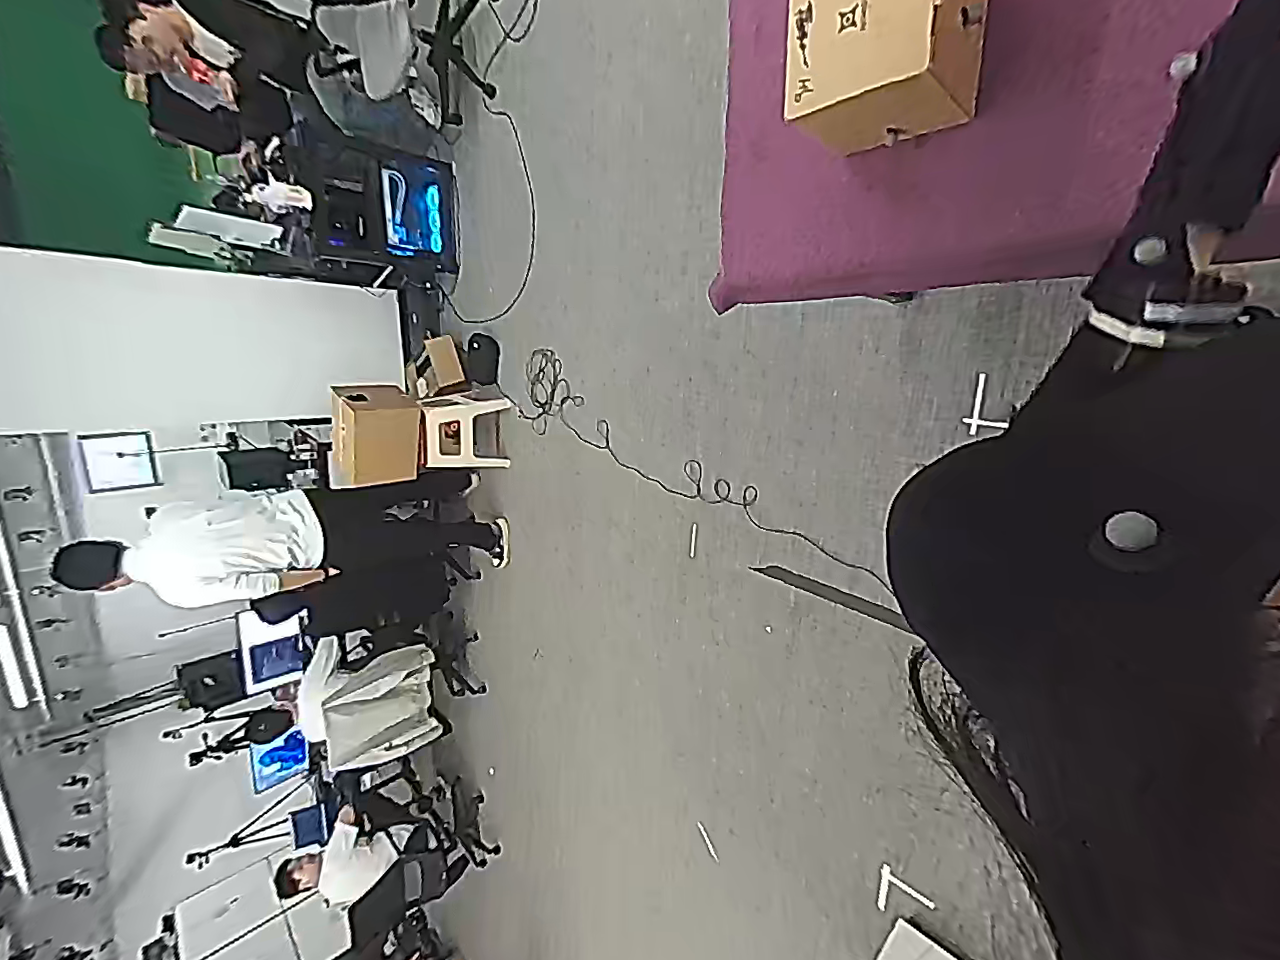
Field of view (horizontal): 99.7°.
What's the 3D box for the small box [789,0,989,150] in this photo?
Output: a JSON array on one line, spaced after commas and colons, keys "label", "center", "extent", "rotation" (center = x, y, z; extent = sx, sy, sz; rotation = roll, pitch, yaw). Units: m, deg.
[{"label": "small box", "center": [0.306, -0.533, 0.660], "extent": [0.179, 0.176, 0.168], "rotation": [11, 106, 45]}]
